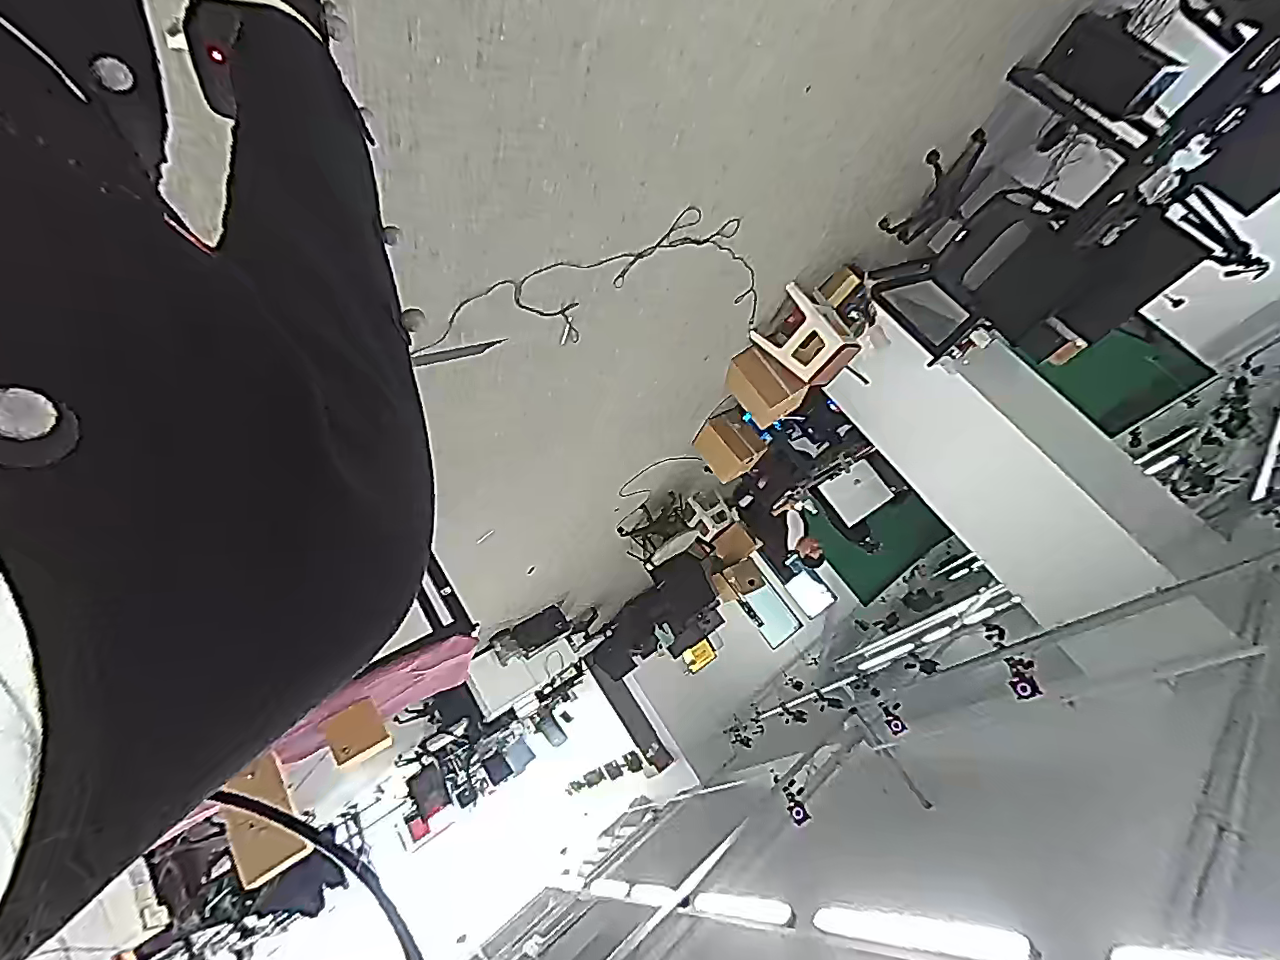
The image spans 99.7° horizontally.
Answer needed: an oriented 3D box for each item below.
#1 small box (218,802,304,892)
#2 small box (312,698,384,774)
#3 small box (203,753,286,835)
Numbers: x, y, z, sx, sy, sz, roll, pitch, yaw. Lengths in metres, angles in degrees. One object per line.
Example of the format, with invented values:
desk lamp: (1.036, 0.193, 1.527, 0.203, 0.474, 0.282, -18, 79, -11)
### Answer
small box: (-1.175, 1.137, 1.683, 0.168, 0.176, 0.179, -24, 158, -37)
small box: (-1.031, 0.903, 1.915, 0.179, 0.176, 0.168, -23, 158, -35)
small box: (-1.266, 1.010, 1.735, 0.168, 0.176, 0.179, -24, 158, -37)
